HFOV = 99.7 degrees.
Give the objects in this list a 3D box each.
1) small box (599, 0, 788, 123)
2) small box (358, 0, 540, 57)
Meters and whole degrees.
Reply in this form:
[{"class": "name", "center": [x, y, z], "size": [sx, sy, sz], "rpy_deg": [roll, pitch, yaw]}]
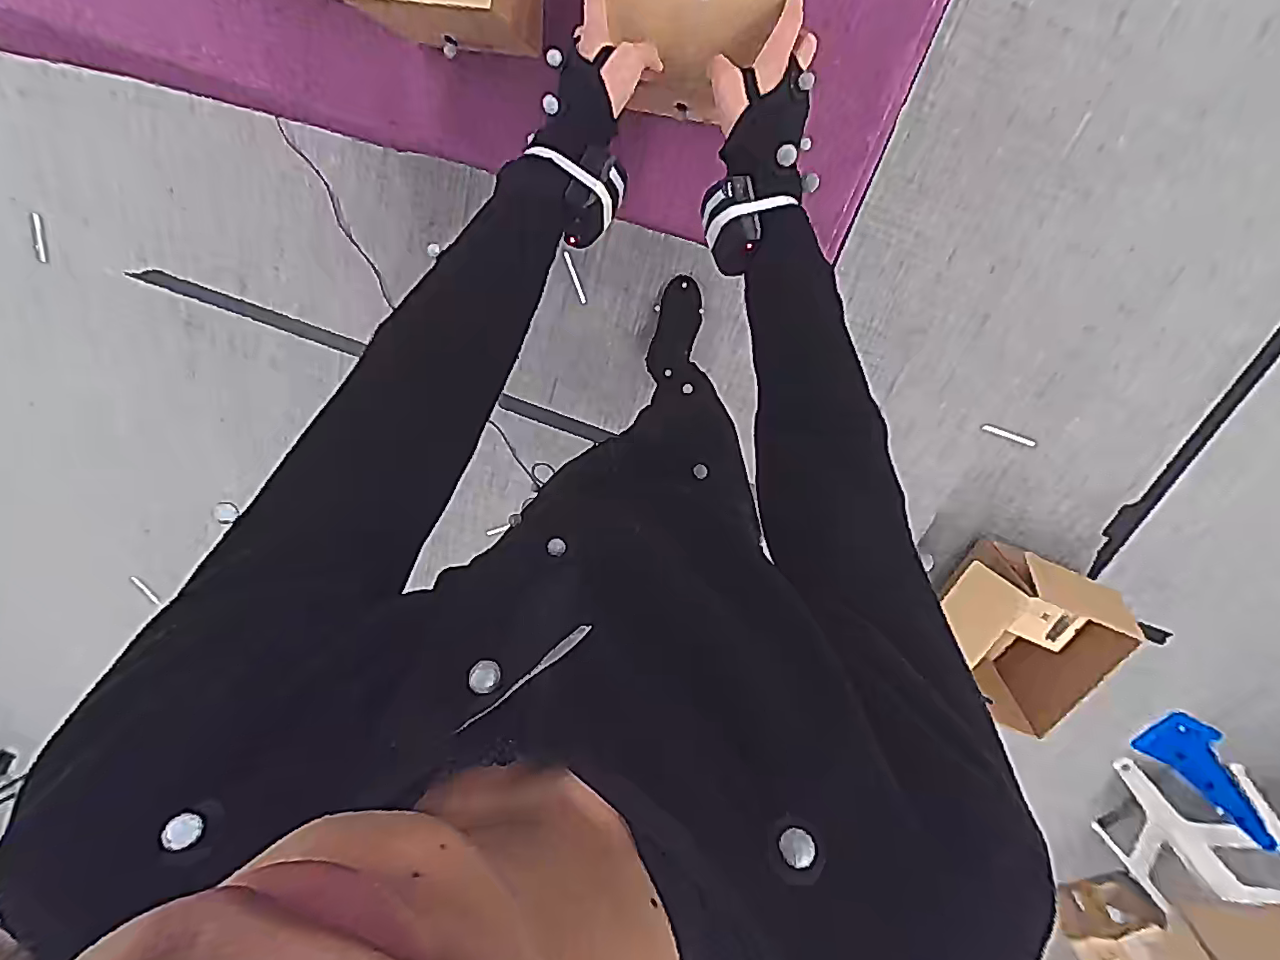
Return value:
[{"class": "small box", "center": [0.065, -0.485, 0.548], "size": [0.168, 0.176, 0.179], "rpy_deg": [12, 115, 3]}, {"class": "small box", "center": [-0.203, -0.569, 0.550], "size": [0.168, 0.176, 0.179], "rpy_deg": [9, 116, 5]}]
